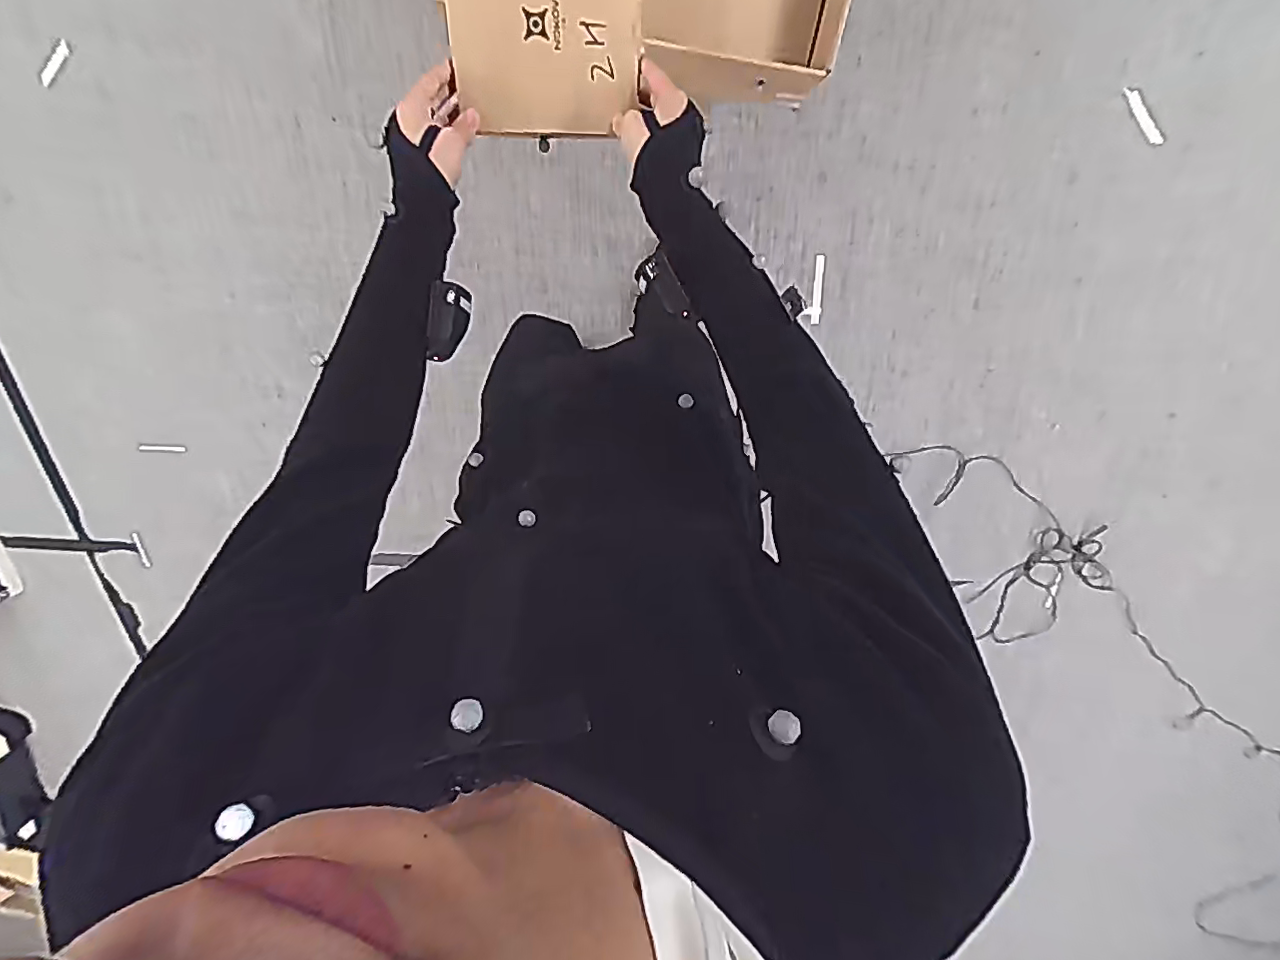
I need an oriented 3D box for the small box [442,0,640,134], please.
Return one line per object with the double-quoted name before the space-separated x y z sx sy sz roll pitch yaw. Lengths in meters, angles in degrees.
"small box" -0.093 -0.454 0.548 0.179 0.176 0.168 -1 121 -5
